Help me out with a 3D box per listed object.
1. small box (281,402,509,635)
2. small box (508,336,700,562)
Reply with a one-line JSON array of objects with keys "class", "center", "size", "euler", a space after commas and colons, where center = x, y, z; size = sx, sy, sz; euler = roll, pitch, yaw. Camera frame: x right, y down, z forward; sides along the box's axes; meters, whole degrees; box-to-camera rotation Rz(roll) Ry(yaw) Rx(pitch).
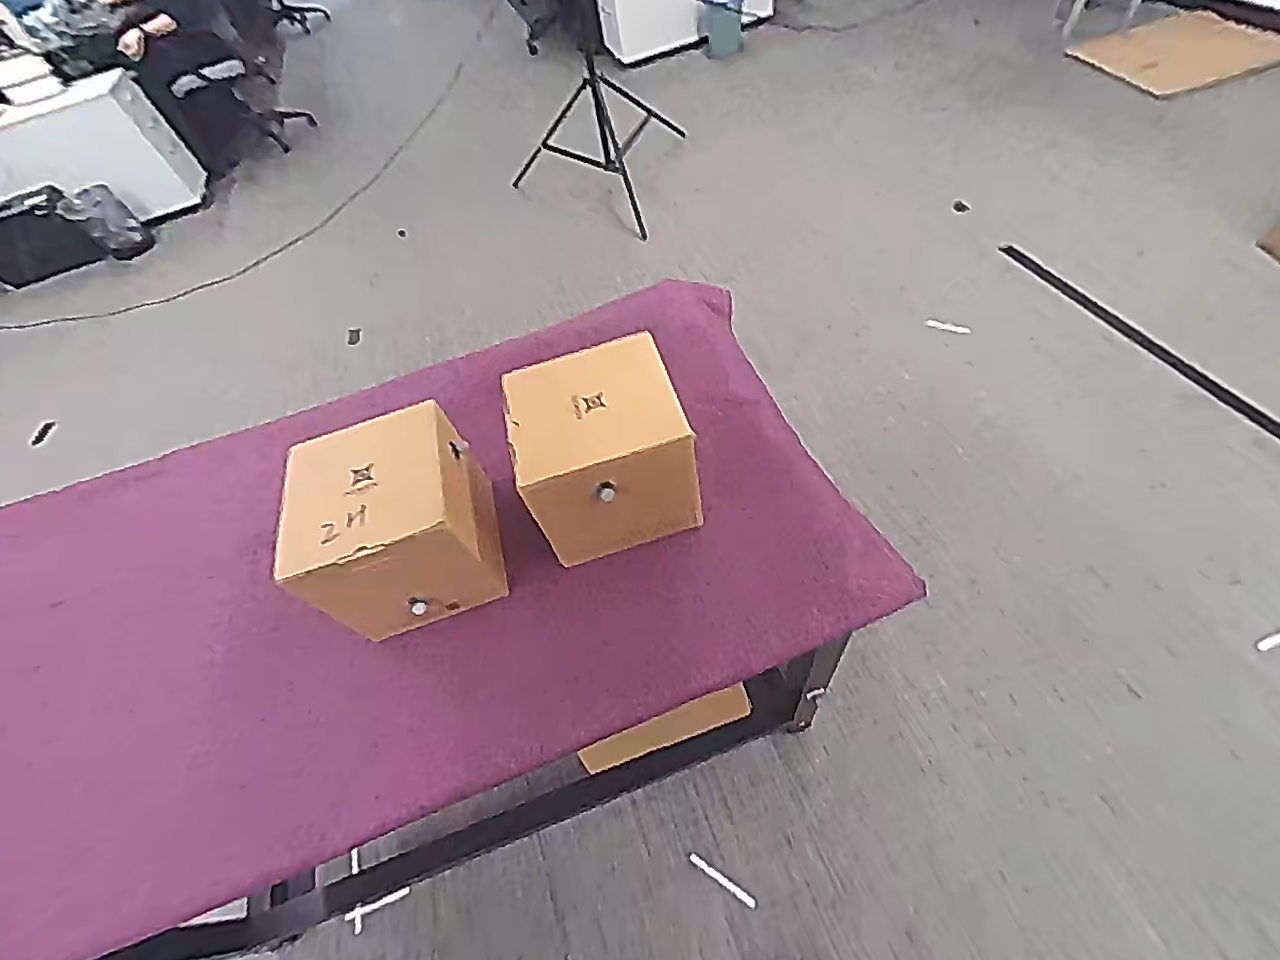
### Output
[{"class": "small box", "center": [-0.262, 0.048, 0.613], "size": [0.168, 0.176, 0.179], "euler": [-19, 54, -2]}, {"class": "small box", "center": [-0.035, -0.030, 0.626], "size": [0.179, 0.176, 0.168], "euler": [-17, 53, -1]}]
